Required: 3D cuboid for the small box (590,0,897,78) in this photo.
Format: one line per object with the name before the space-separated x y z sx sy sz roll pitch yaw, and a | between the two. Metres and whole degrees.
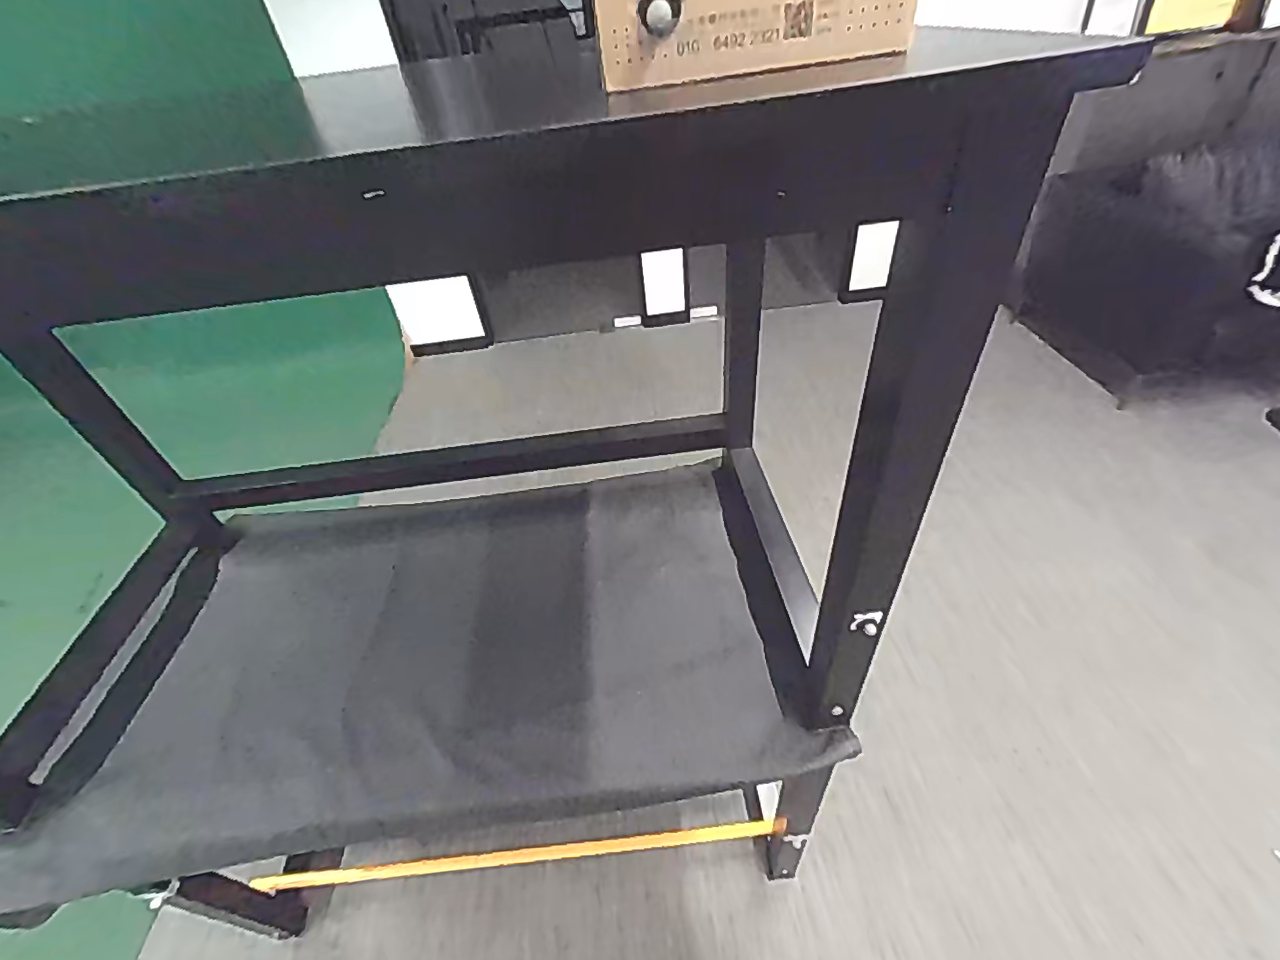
small box | 0.049 -0.343 0.306 0.168 0.176 0.179 -5 40 3
